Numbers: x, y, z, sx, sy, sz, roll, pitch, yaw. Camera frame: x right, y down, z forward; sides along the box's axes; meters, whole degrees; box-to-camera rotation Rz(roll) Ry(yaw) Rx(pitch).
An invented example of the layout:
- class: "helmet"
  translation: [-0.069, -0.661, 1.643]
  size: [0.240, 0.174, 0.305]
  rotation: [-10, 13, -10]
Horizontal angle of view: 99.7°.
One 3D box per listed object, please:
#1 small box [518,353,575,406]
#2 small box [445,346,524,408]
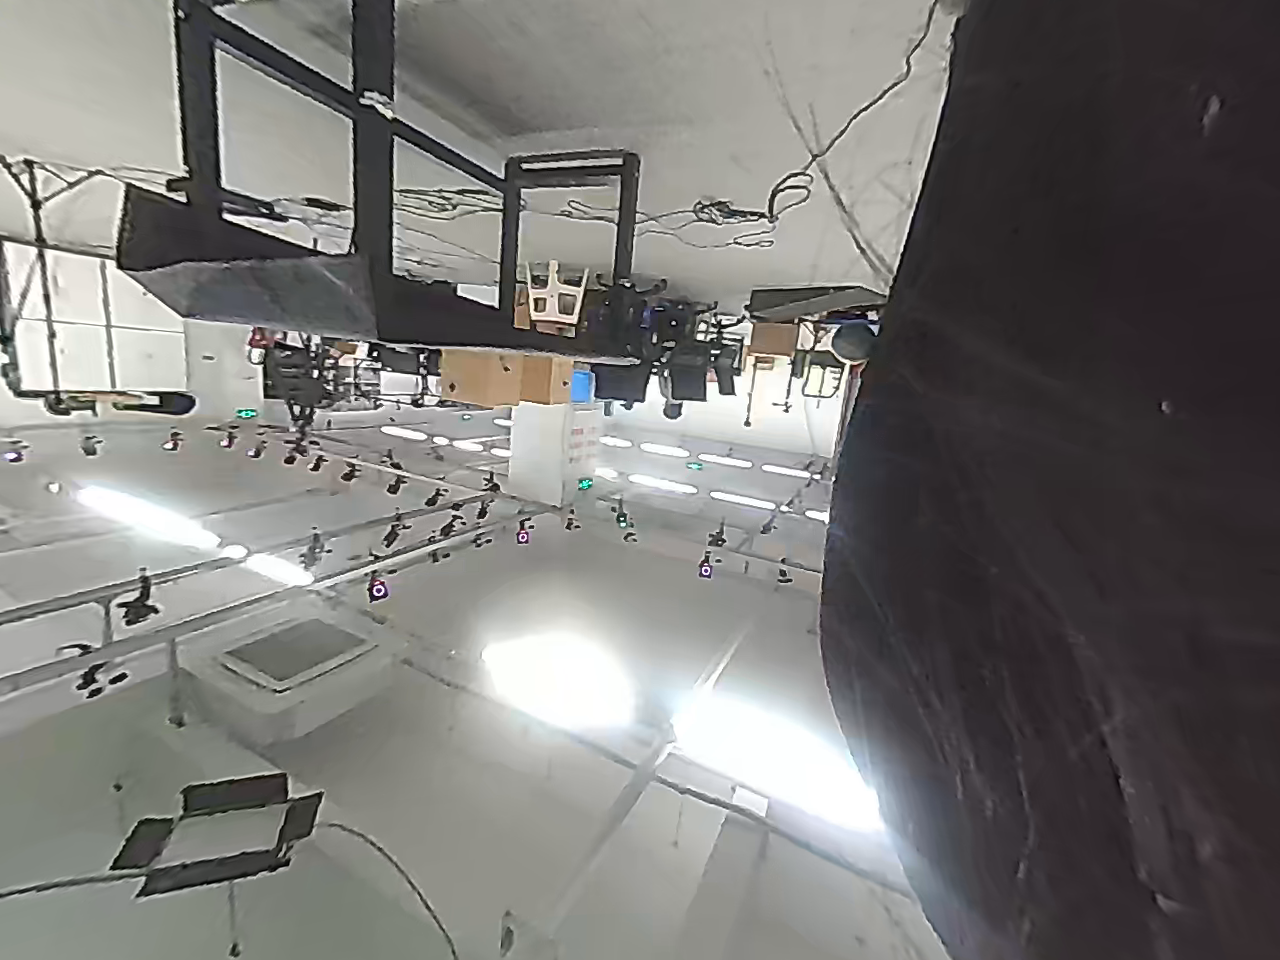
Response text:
- class: "small box"
  translation: [-0.342, -0.362, 1.934]
  size: [0.179, 0.176, 0.168]
  rotation: [11, -167, 17]
- class: "small box"
  translation: [-0.473, -0.318, 1.666]
  size: [0.179, 0.176, 0.168]
  rotation: [12, -166, 22]
